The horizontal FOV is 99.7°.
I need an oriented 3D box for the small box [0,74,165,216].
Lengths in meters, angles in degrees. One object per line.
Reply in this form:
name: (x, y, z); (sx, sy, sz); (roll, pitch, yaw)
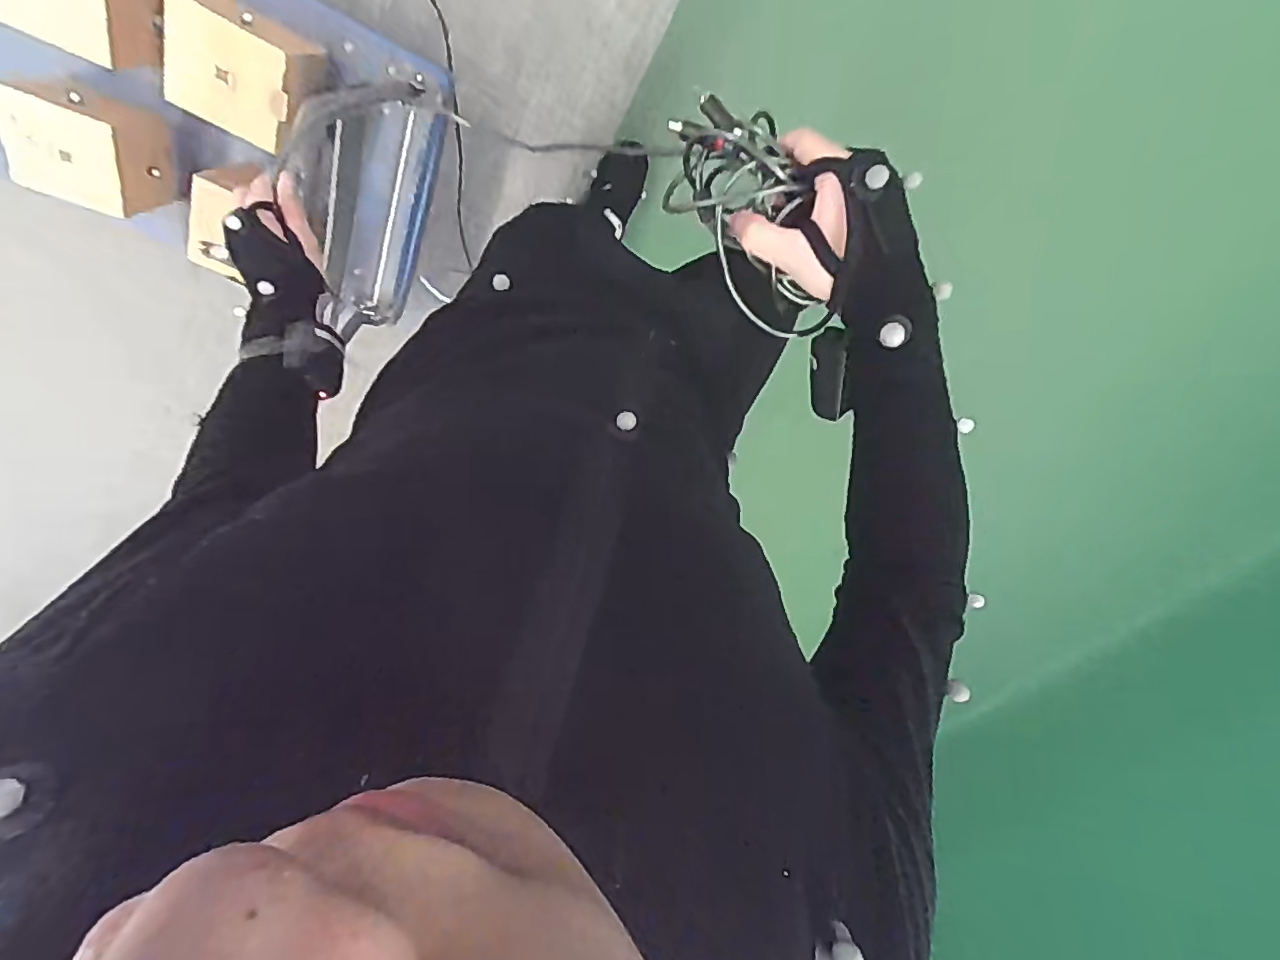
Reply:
small box: (-1.029, -0.627, 1.006); (0.179, 0.176, 0.168); (17, 125, -17)

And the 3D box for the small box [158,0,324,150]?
small box: (-0.696, -0.721, 0.955); (0.179, 0.176, 0.168); (21, 124, -20)

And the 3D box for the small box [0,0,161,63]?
small box: (-0.914, -0.808, 0.869); (0.179, 0.176, 0.168); (18, 126, -18)
